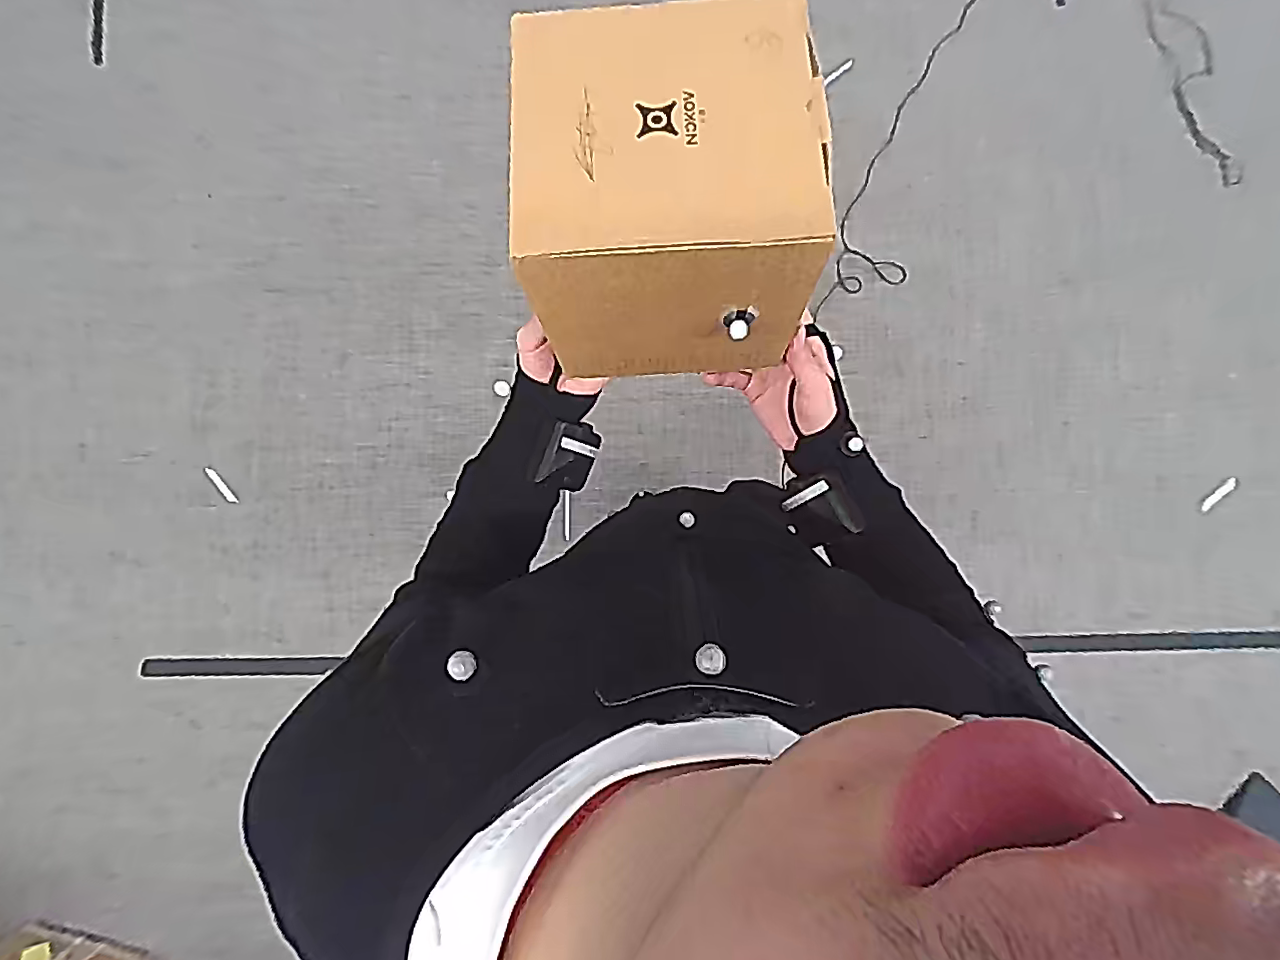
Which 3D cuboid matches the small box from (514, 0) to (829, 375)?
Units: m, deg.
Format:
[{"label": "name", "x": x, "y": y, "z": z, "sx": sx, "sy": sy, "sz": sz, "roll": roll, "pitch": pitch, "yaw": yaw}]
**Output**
[{"label": "small box", "x": 0.018, "y": -0.187, "z": 0.390, "sx": 0.179, "sy": 0.176, "sz": 0.168, "roll": -3, "pitch": 77, "yaw": 3}]
